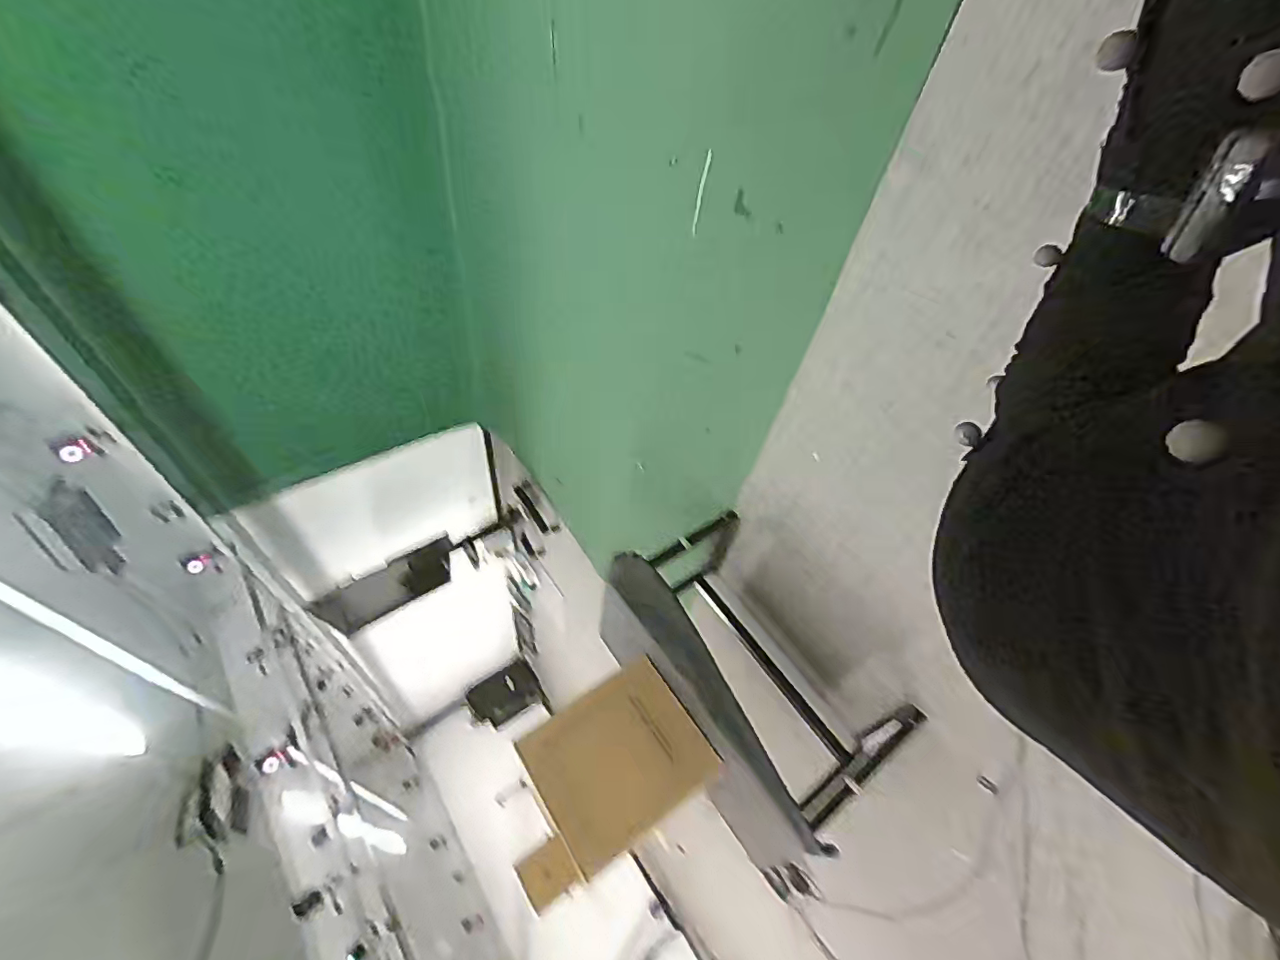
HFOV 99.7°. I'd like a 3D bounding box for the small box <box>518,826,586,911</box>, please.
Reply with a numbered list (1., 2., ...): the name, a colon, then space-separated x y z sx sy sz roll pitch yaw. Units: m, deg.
1. small box: -0.305 1.332 1.864 0.179 0.176 0.168 48 148 30
